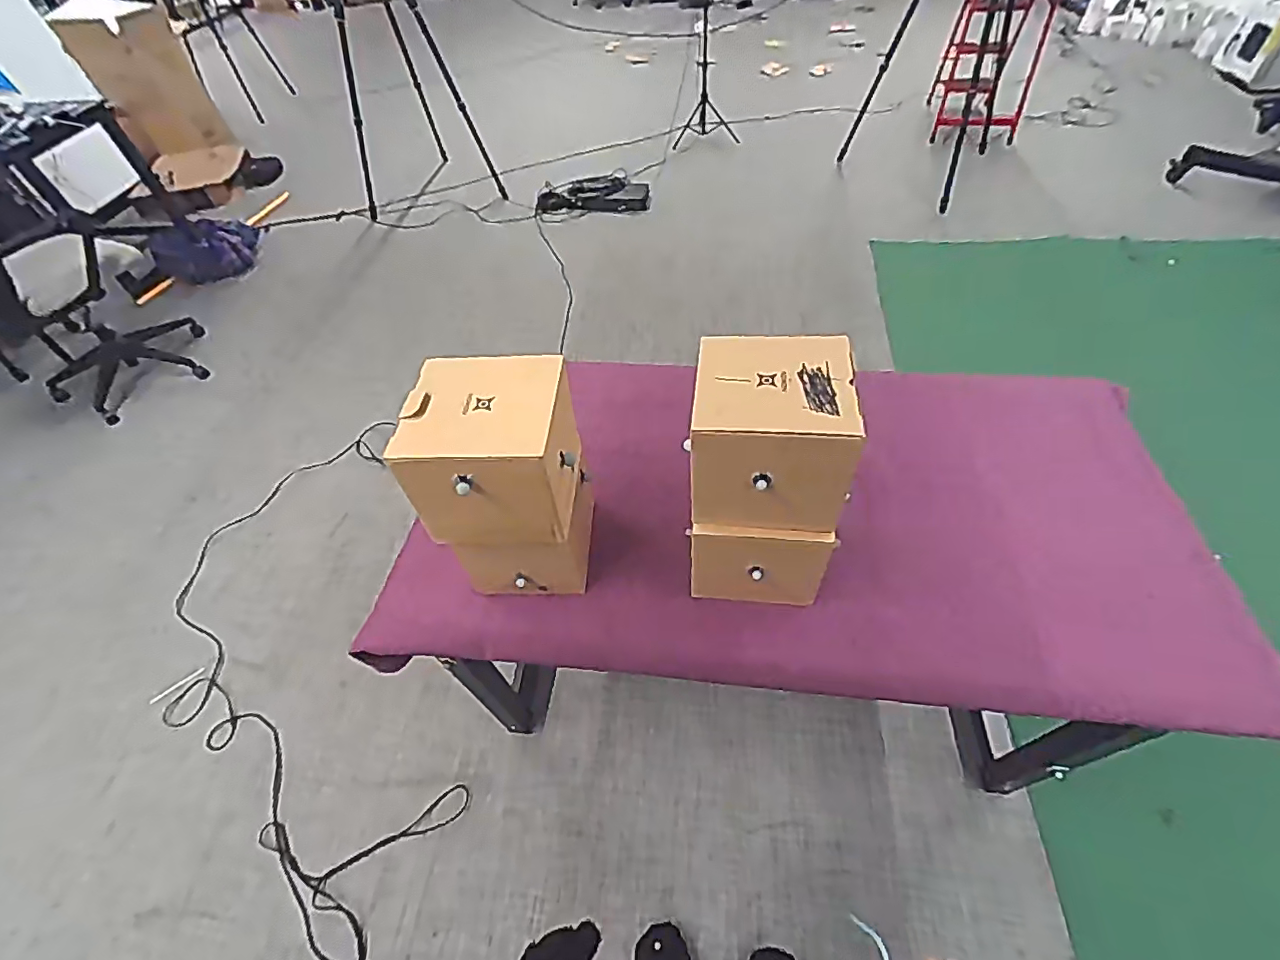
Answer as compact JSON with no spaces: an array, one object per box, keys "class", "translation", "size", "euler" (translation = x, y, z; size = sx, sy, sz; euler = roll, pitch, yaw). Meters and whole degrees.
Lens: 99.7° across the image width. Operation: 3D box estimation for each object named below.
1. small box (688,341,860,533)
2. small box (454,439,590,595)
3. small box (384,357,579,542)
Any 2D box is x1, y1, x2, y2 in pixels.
[{"class":"small box","translation":[0.154,-0.049,0.664],"size":[0.179,0.176,0.168],"euler":[3,50,9]},{"class":"small box","translation":[-0.171,0.054,0.813],"size":[0.168,0.176,0.179],"euler":[0,51,4]},{"class":"small box","translation":[-0.177,-0.034,0.675],"size":[0.179,0.176,0.168],"euler":[0,52,4]}]
